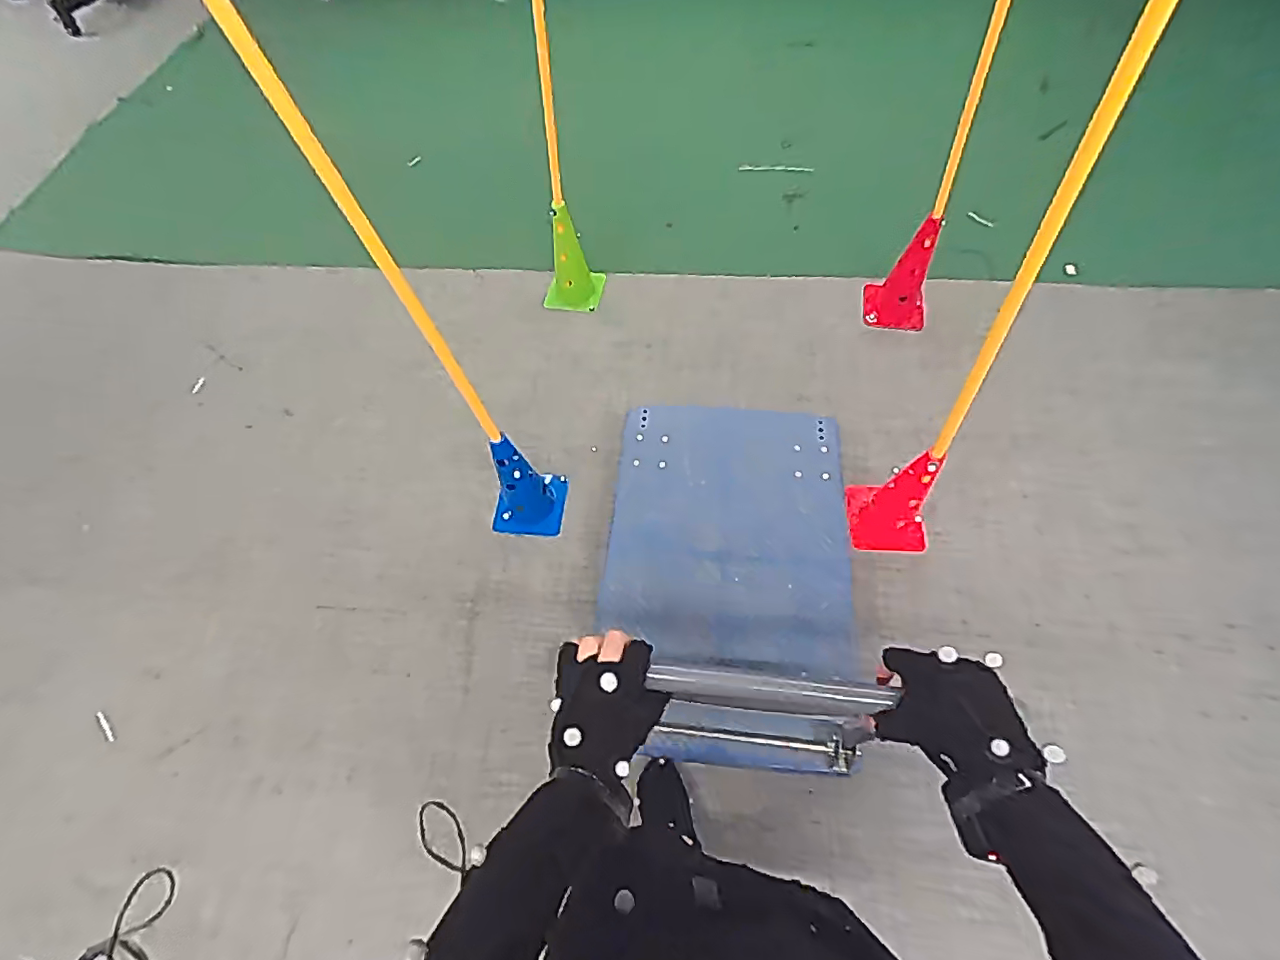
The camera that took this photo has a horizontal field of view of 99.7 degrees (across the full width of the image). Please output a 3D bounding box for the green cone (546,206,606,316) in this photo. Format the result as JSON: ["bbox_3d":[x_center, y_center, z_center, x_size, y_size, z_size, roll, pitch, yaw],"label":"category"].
[{"bbox_3d":[-0.249,-0.773,1.868,0.202,0.368,0.200,7,61,8],"label":"green cone"}]

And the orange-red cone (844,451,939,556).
[{"bbox_3d":[0.671,0.036,1.377,0.199,0.360,0.198,2,61,6],"label":"orange-red cone"}]
